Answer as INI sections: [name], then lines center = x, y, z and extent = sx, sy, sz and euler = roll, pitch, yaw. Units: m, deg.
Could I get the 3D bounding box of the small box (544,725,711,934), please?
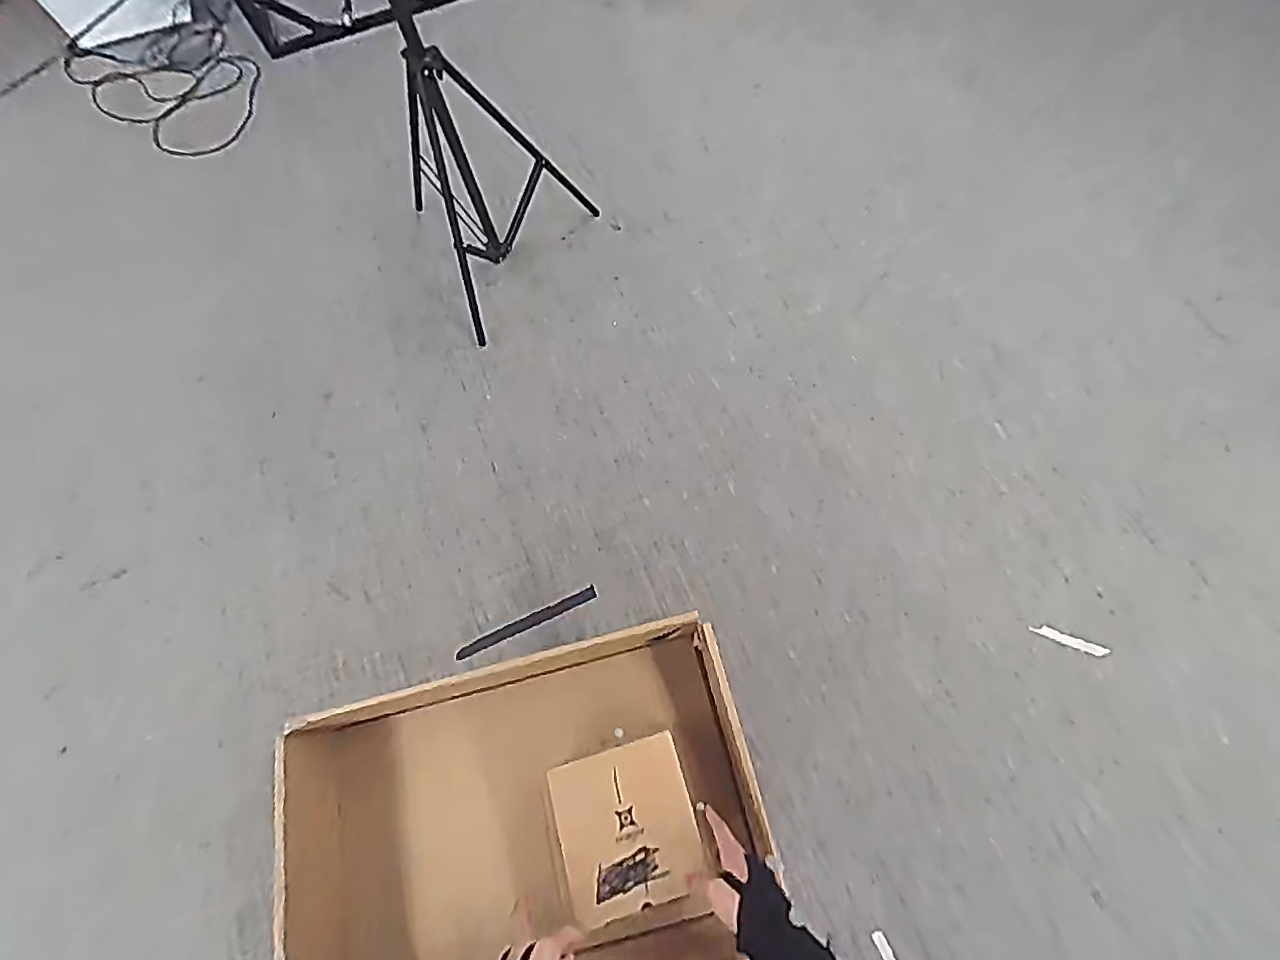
[small box]
center = -0.013, 0.440, 0.713
extent = 0.168, 0.176, 0.179
euler = -17, 68, -3
